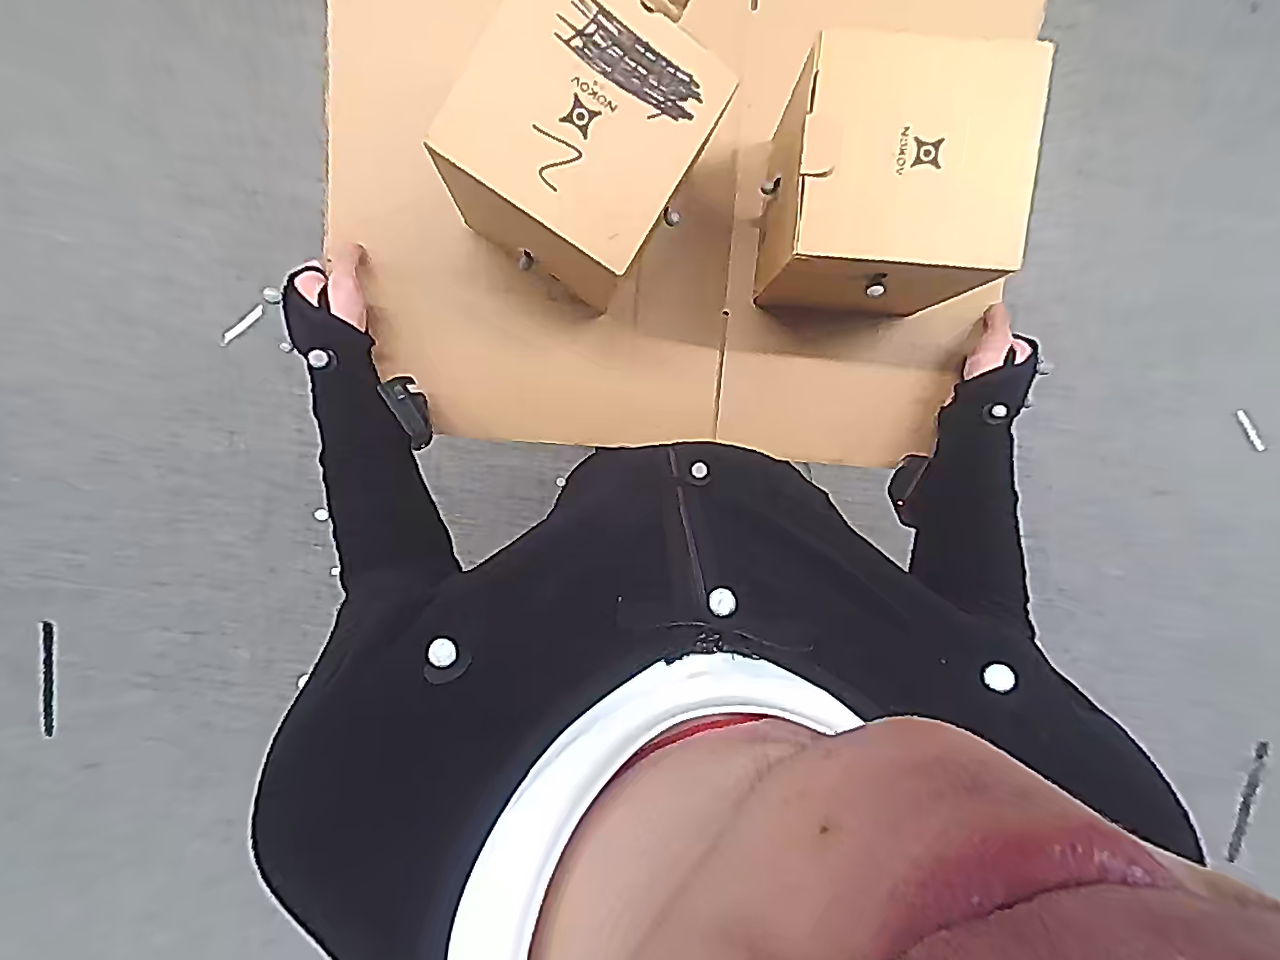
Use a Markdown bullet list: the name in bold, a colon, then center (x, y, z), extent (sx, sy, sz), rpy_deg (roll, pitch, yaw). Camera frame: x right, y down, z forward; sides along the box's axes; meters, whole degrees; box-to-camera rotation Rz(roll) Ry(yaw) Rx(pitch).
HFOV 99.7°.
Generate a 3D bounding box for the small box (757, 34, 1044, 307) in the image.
- **small box**: center (0.219, -0.264, 0.503), extent (0.179, 0.176, 0.168), rpy_deg (5, 97, 1)
